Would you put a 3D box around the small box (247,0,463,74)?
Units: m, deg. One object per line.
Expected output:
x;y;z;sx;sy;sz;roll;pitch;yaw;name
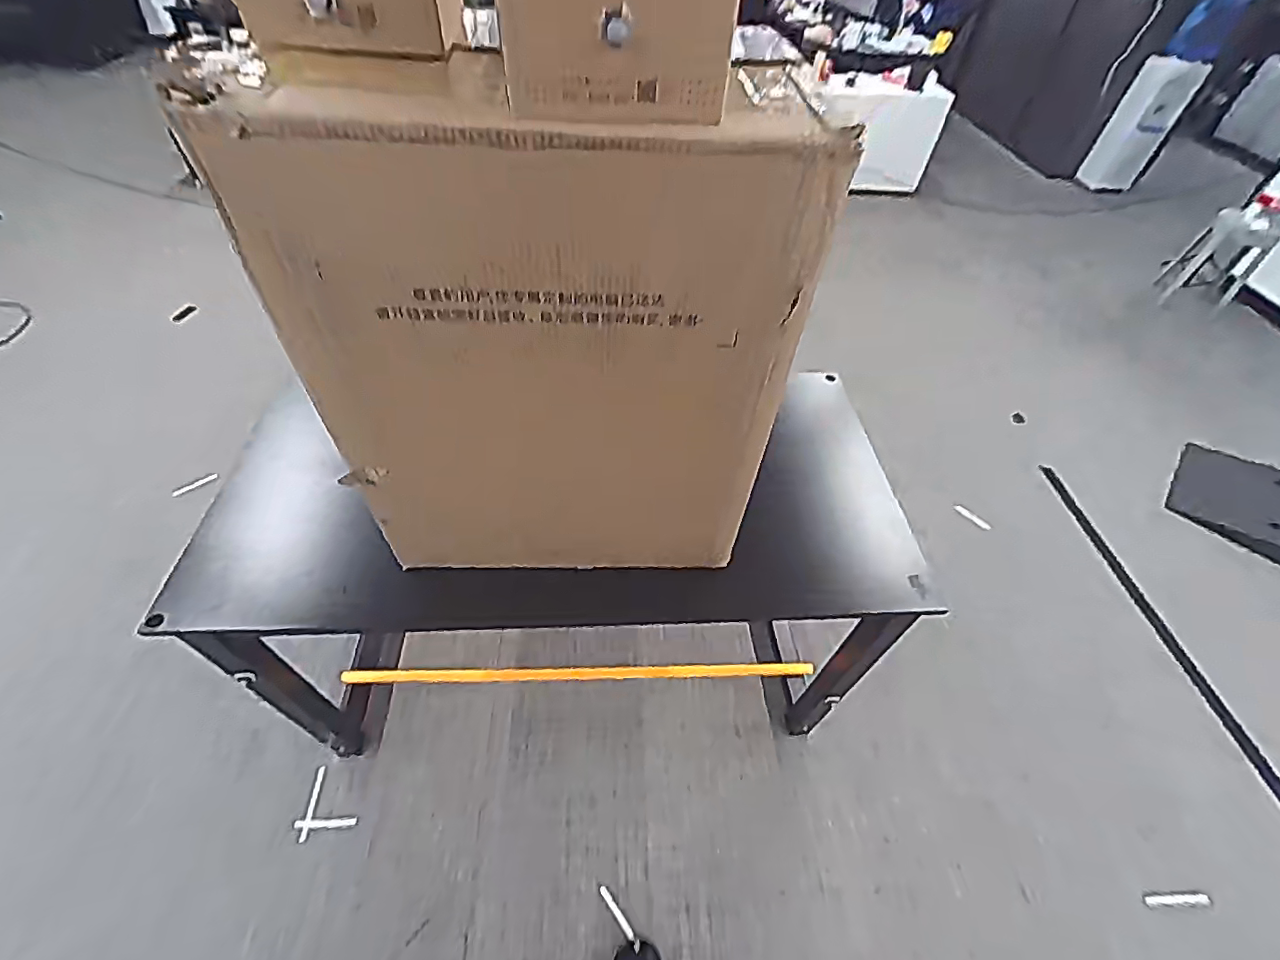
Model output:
-0.261;-0.490;0.483;0.168;0.176;0.179;-4;50;-7;small box

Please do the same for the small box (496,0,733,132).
-0.022;-0.392;0.416;0.168;0.176;0.179;-2;49;-4;small box
